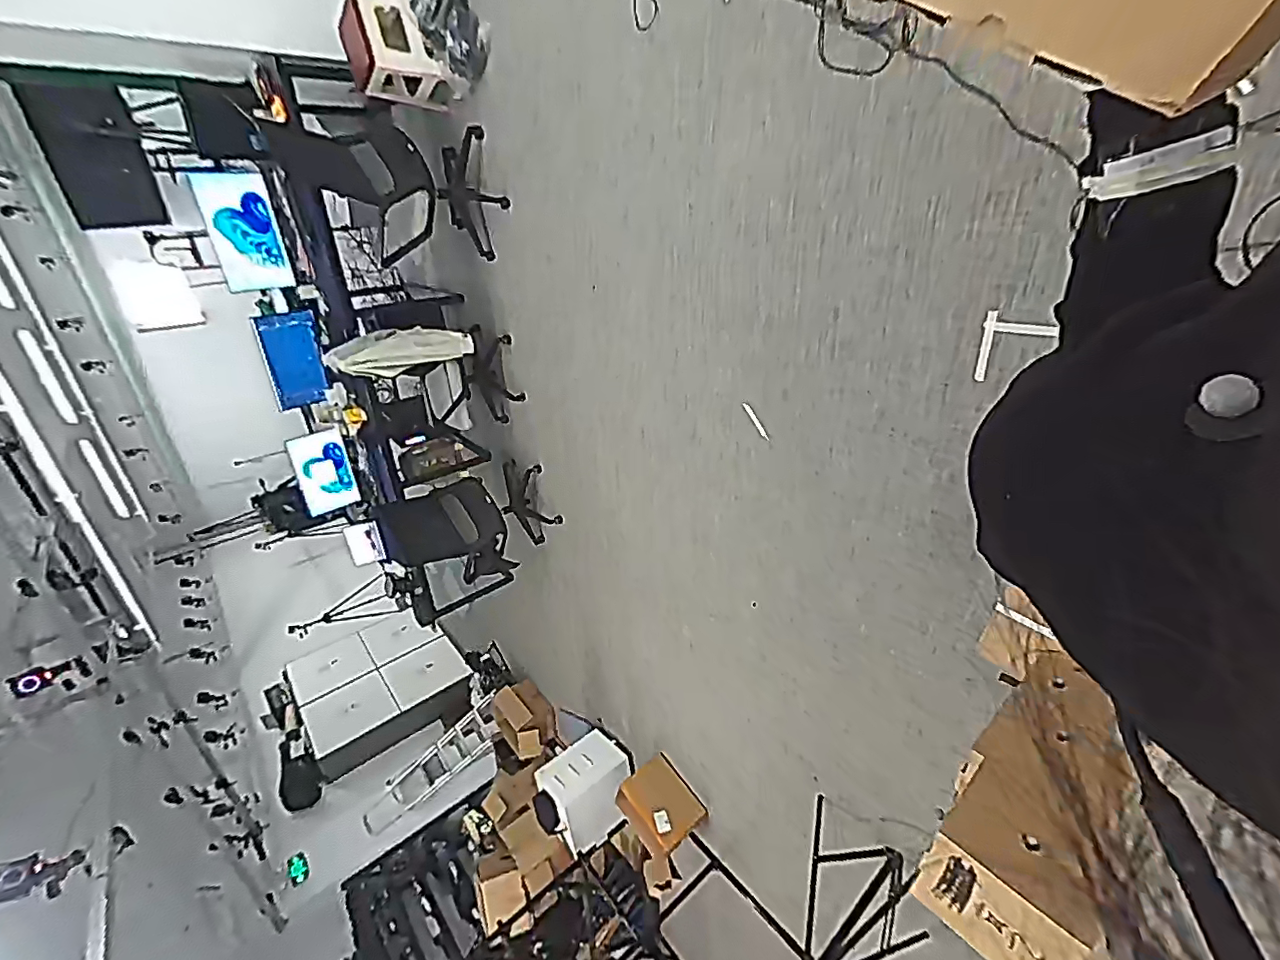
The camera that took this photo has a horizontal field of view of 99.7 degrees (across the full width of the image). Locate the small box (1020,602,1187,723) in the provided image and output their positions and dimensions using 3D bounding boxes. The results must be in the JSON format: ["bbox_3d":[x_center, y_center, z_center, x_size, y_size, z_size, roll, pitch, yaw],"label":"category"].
[{"bbox_3d":[0.886,0.366,1.035,0.179,0.176,0.168,36,135,38],"label":"small box"}]

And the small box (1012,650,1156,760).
[{"bbox_3d":[0.766,0.434,0.948,0.168,0.176,0.179,20,125,48],"label":"small box"}]

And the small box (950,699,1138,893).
[{"bbox_3d":[0.637,0.483,0.860,0.179,0.176,0.168,27,129,45],"label":"small box"}]

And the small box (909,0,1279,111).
[{"bbox_3d":[0.229,-0.284,0.210,0.168,0.176,0.179,45,148,21],"label":"small box"}]
